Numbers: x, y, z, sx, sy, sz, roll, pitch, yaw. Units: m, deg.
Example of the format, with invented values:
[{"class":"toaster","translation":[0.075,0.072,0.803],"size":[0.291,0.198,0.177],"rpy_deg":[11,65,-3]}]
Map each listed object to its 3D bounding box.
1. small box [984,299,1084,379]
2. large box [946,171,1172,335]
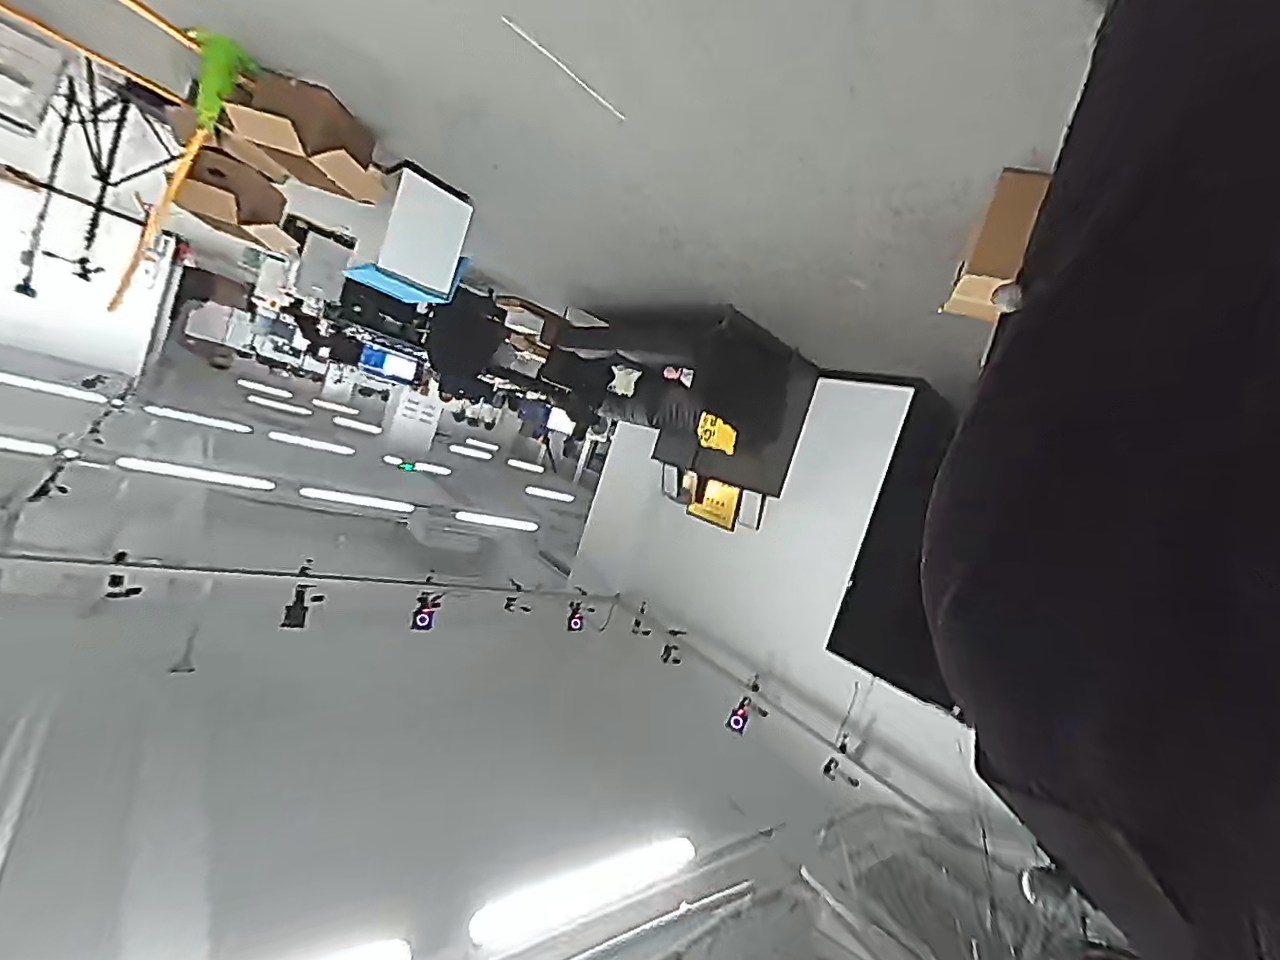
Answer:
[{"class":"small box","translation":[1.178,-0.421,1.619],"size":[0.168,0.176,0.179],"rpy_deg":[19,-176,14]},{"class":"large box","translation":[1.210,-0.666,1.611],"size":[0.408,0.320,0.320],"rpy_deg":[20,-176,19]}]
